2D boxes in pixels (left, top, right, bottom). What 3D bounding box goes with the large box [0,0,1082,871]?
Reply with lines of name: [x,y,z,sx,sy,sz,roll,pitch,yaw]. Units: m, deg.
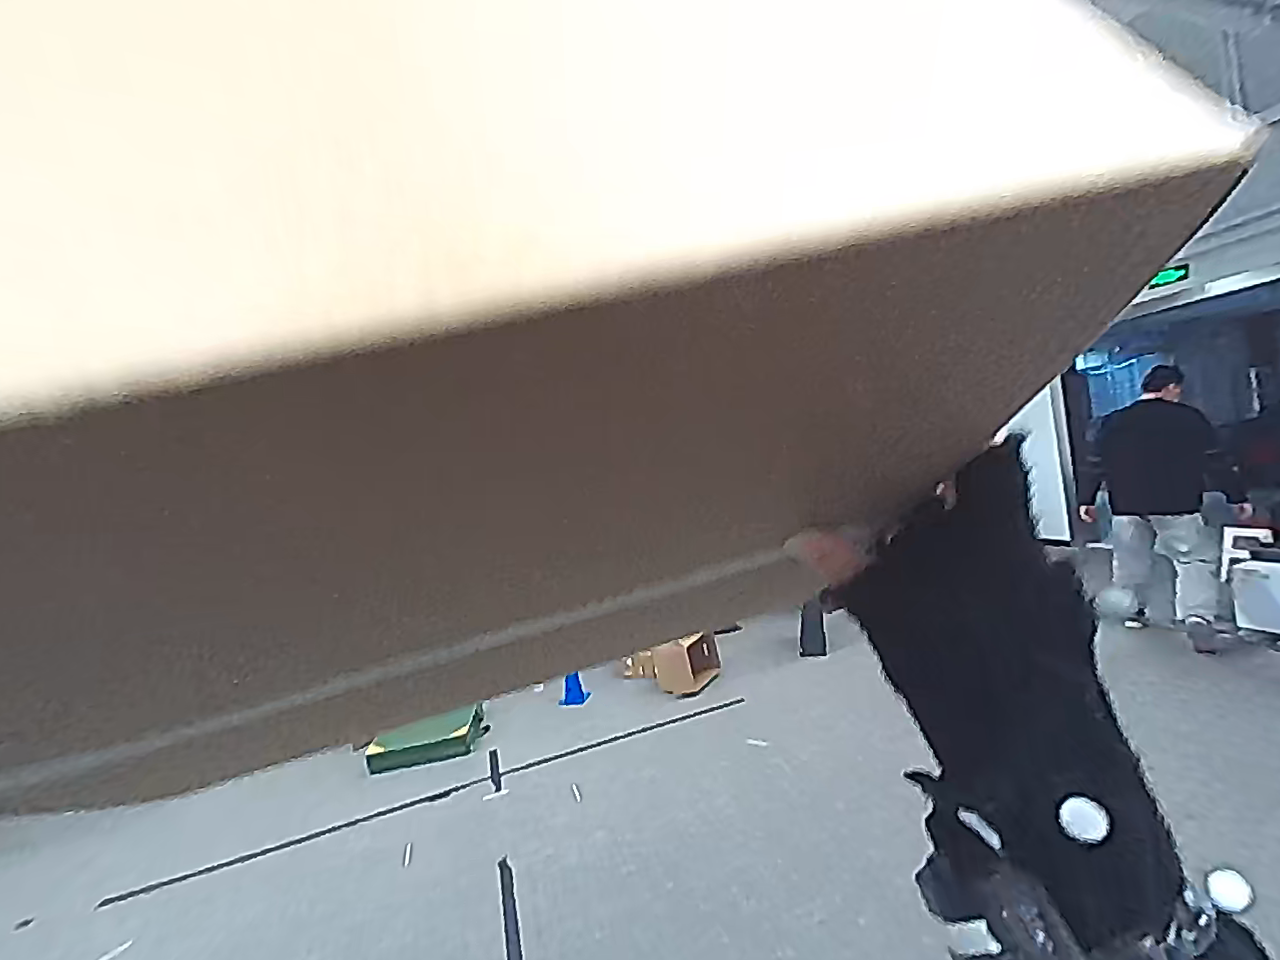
large box: [-0.108,-0.031,0.308,0.408,0.320,0.320,-16,-29,-9]
